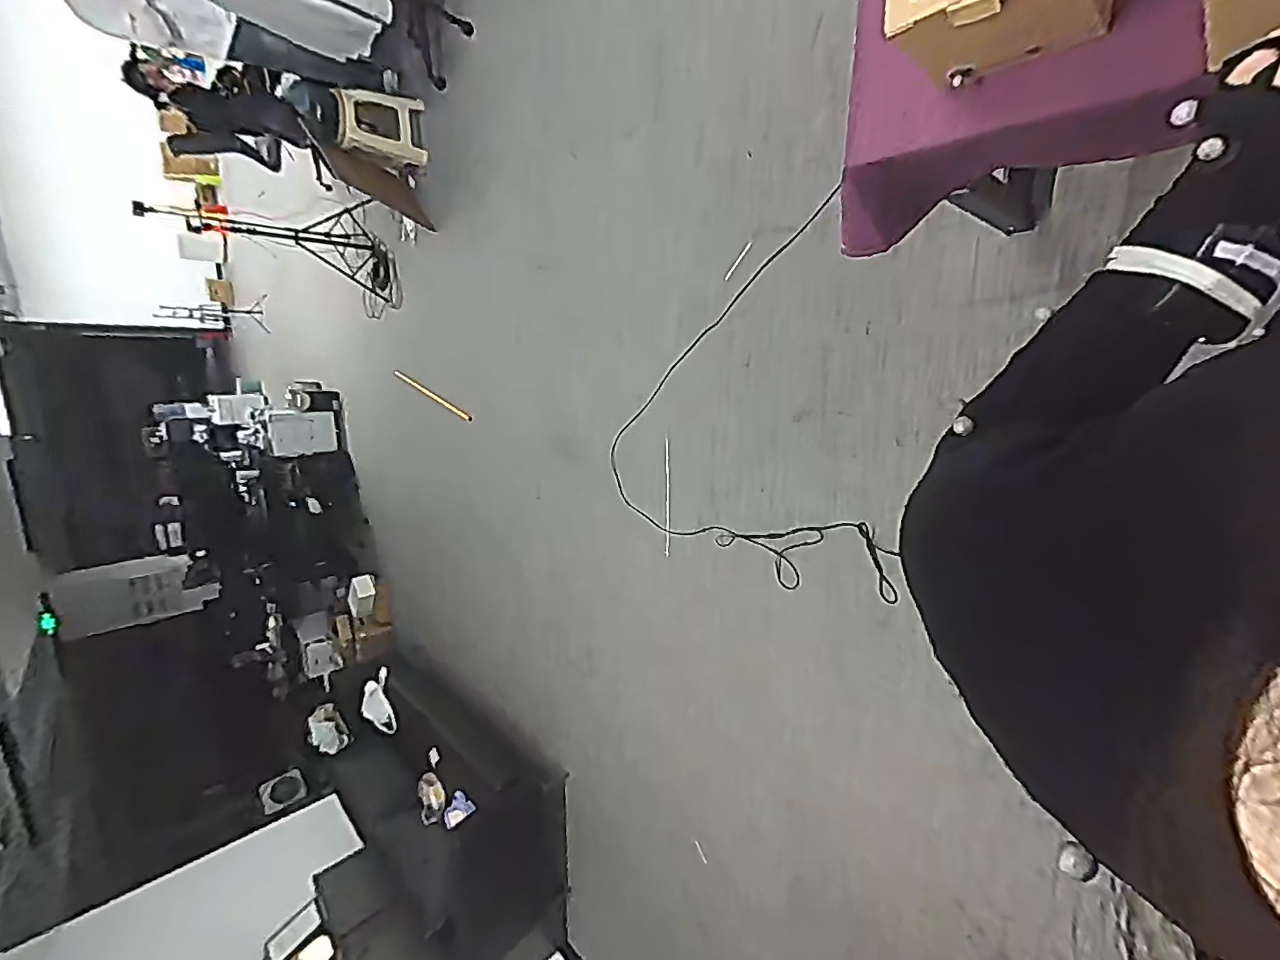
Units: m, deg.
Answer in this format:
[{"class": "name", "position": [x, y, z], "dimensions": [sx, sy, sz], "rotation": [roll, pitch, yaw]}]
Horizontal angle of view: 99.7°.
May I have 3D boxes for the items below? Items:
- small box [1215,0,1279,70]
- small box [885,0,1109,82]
[{"class": "small box", "position": [0.519, -0.396, 0.345], "dimensions": [0.168, 0.176, 0.179], "rotation": [35, 123, 38]}, {"class": "small box", "position": [0.375, -0.549, 0.555], "dimensions": [0.168, 0.176, 0.179], "rotation": [12, 105, 45]}]
